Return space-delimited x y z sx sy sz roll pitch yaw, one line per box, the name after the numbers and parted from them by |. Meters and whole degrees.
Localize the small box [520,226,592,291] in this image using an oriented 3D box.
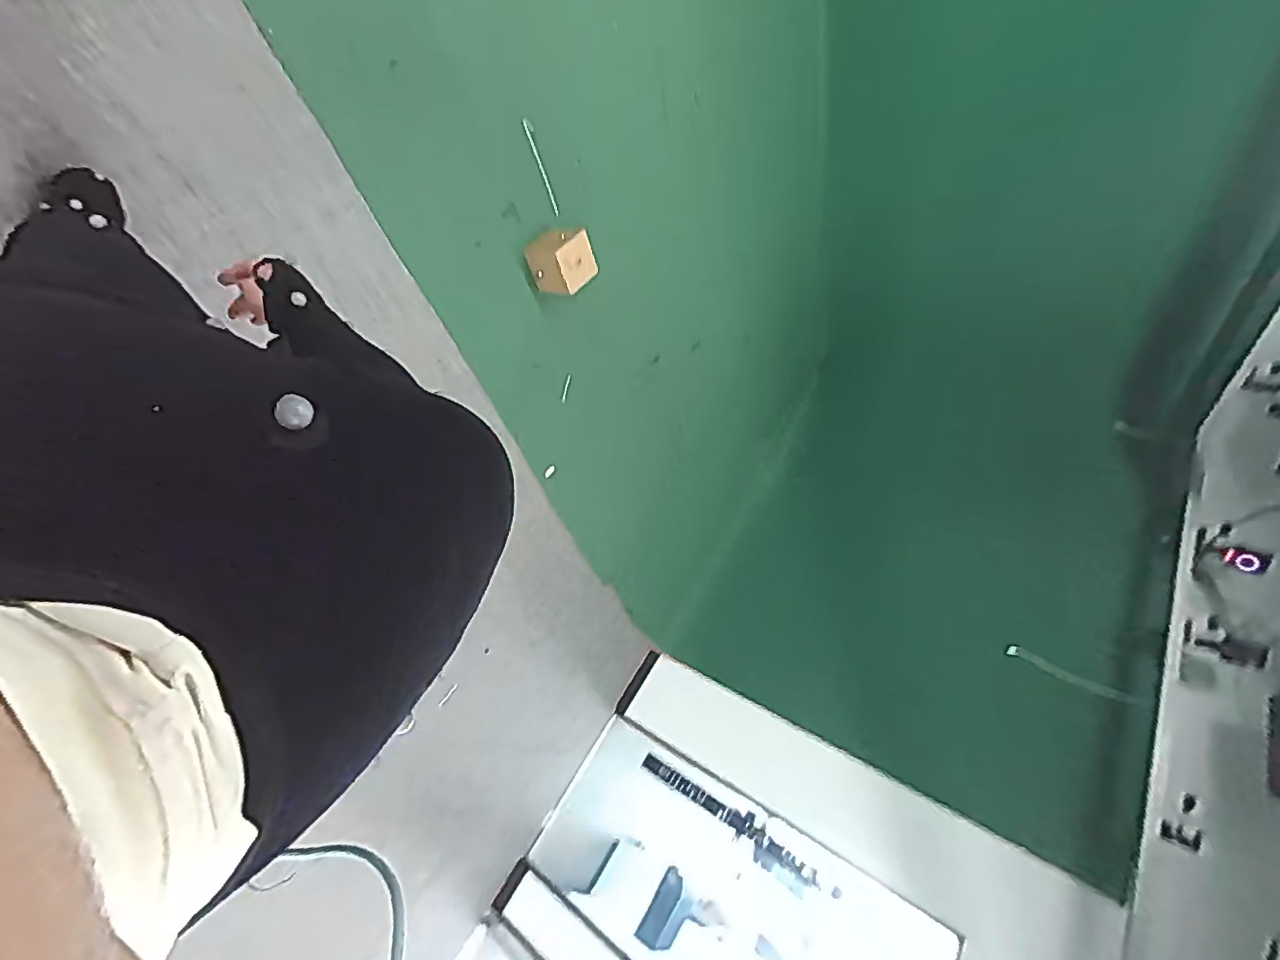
-0.312 -0.828 2.011 0.179 0.176 0.168 -52 143 -27 | small box
